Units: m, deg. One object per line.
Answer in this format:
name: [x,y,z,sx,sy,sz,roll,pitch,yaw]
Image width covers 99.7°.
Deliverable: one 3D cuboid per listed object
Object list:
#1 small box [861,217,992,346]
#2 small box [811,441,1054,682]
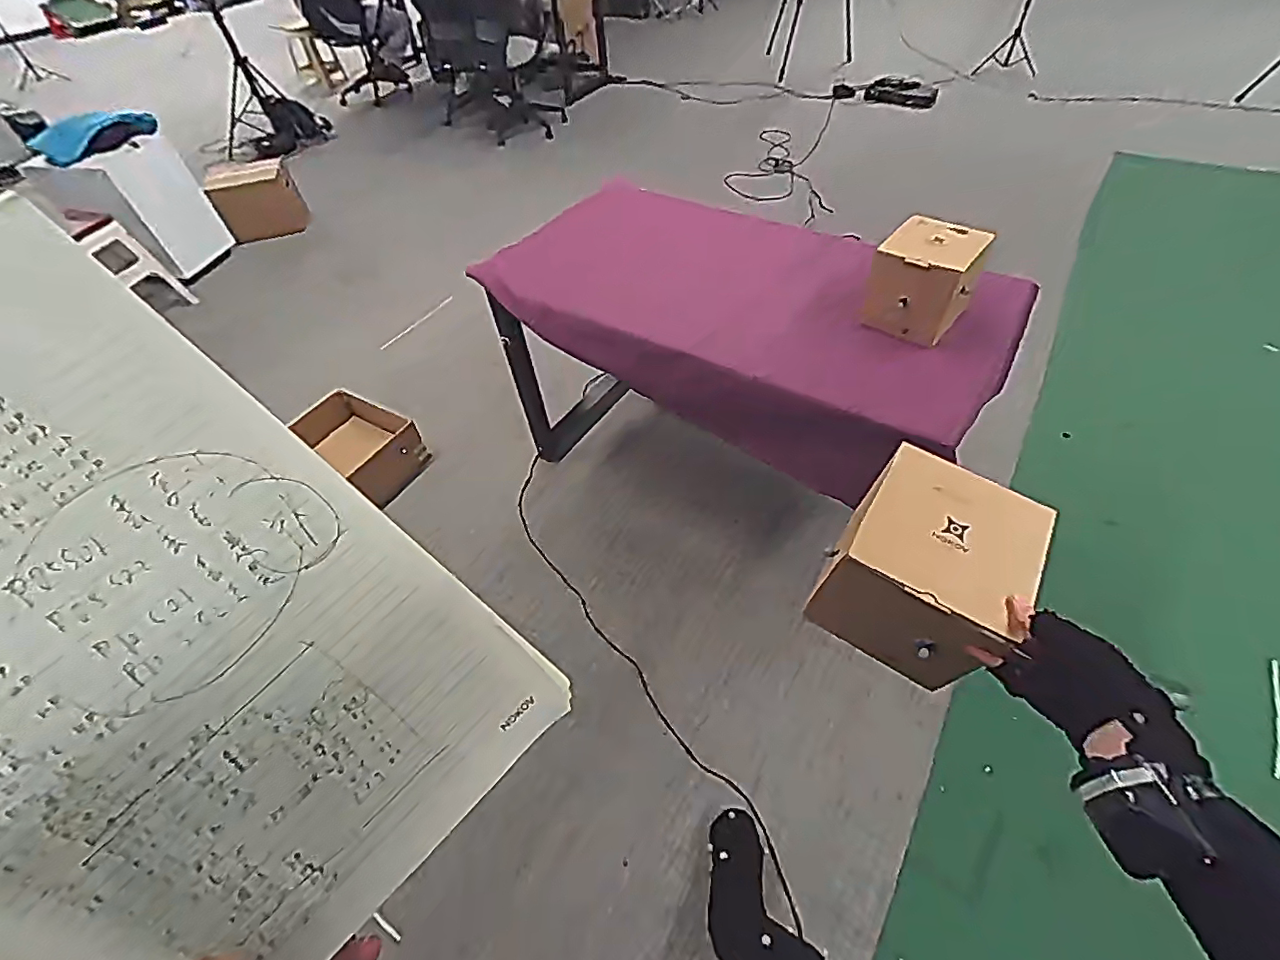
small box: [0.577,-0.405,1.111,0.168,0.176,0.179,32,61,27]
small box: [0.312,0.096,0.609,0.168,0.176,0.179,30,60,18]
